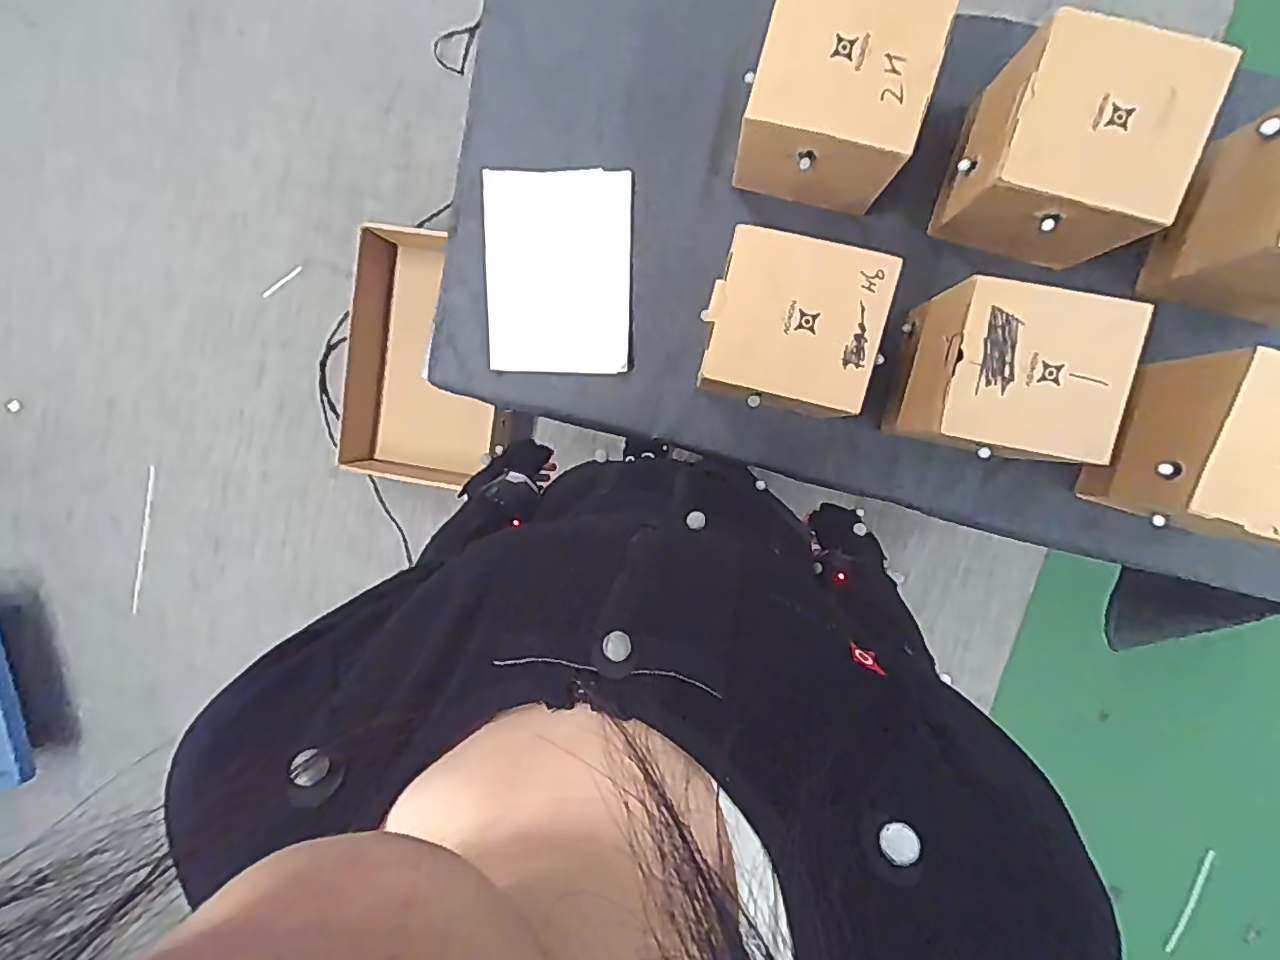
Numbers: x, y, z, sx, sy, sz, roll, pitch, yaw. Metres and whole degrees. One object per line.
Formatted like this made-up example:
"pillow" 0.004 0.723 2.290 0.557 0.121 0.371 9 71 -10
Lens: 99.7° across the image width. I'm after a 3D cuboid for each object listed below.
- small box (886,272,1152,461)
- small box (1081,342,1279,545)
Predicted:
"small box" 0.411 -0.120 0.624 0.179 0.176 0.168 11 96 3
"small box" 0.660 -0.037 0.613 0.168 0.176 0.179 17 96 3
